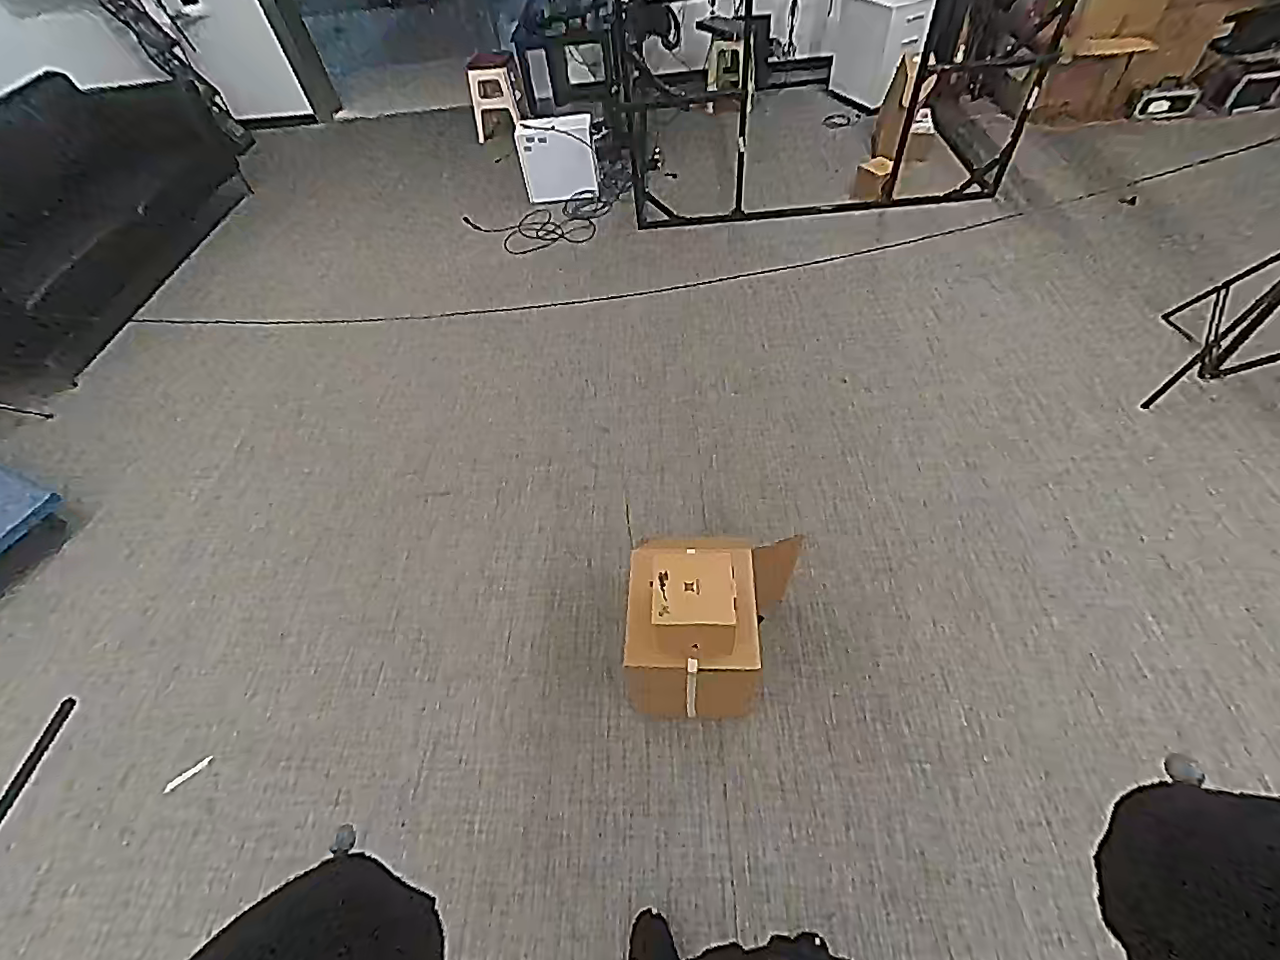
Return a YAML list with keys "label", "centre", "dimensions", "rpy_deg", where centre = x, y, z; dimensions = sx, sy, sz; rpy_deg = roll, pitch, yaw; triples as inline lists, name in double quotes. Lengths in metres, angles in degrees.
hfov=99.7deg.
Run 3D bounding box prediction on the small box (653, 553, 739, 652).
- label: "small box"
  centre: [0.123, 0.274, 1.204]
  dimensions: [0.179, 0.176, 0.168]
  rpy_deg: [-1, 53, 5]
